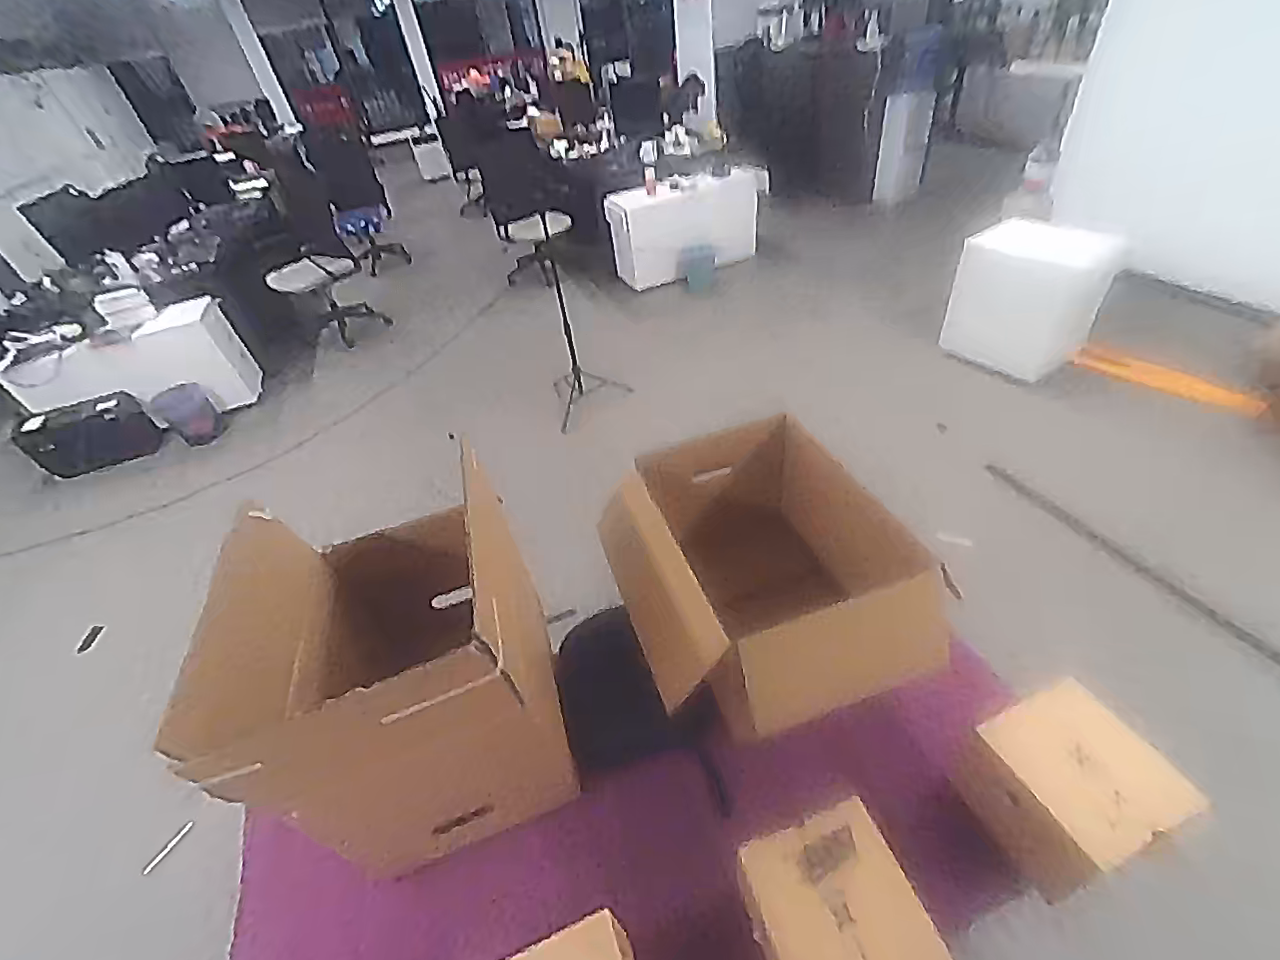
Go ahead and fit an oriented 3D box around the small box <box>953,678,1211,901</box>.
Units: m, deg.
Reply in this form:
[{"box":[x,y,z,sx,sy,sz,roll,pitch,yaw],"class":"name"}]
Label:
[{"box":[0.551,0.403,0.708,0.168,0.176,0.179,-21,42,-11],"class":"small box"}]
